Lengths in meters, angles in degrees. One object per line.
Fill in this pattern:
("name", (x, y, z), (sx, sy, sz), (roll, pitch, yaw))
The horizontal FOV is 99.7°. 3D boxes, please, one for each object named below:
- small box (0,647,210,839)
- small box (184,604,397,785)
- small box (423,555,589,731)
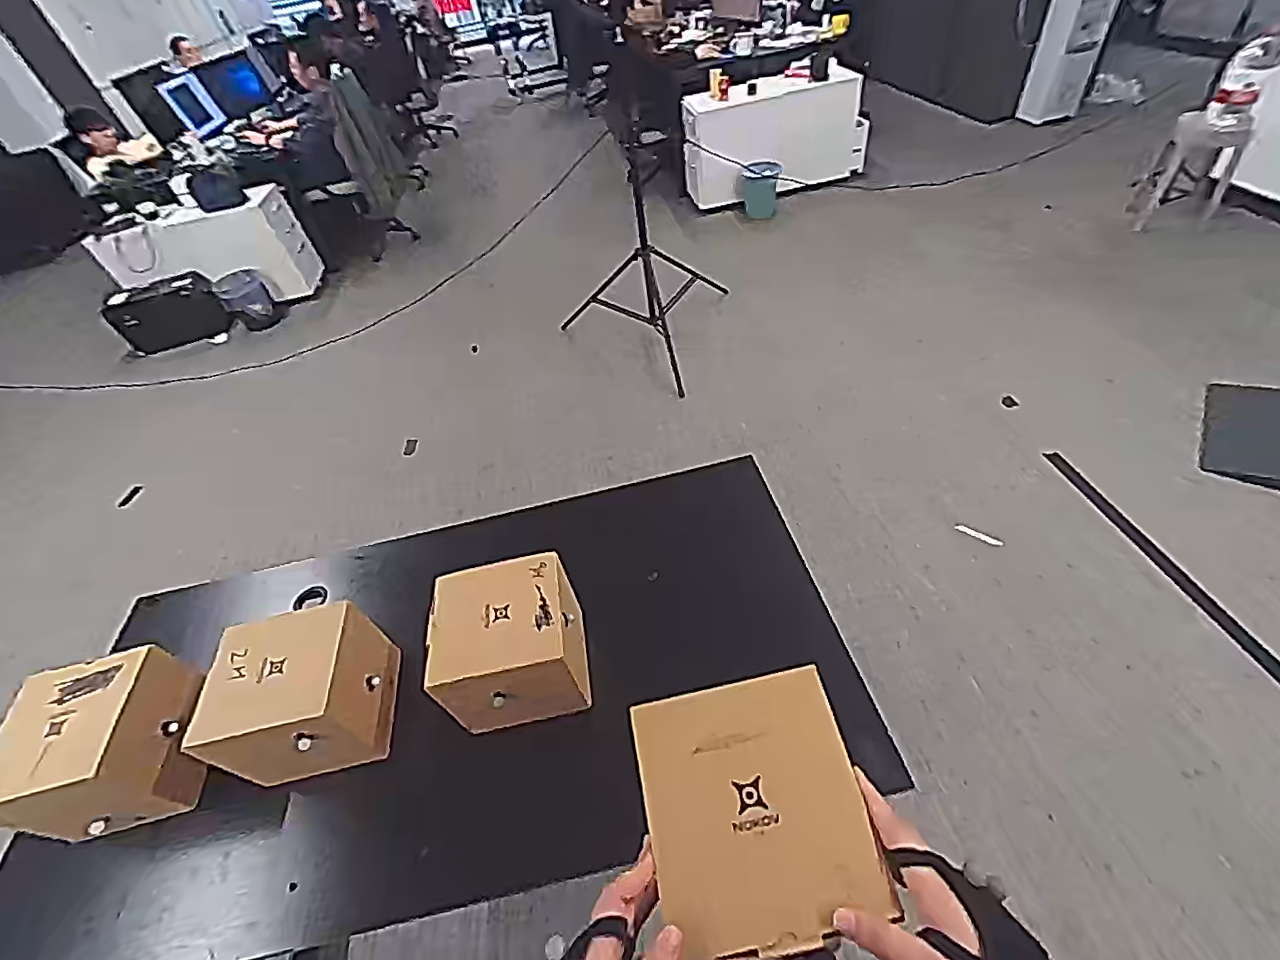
("small box", (-0.726, 0.366, 0.752), (0.168, 0.176, 0.179), (-15, 47, -3))
("small box", (-0.467, 0.304, 0.762), (0.179, 0.176, 0.168), (-13, 46, -2))
("small box", (-0.182, 0.237, 0.773), (0.179, 0.176, 0.168), (-13, 47, 0))
